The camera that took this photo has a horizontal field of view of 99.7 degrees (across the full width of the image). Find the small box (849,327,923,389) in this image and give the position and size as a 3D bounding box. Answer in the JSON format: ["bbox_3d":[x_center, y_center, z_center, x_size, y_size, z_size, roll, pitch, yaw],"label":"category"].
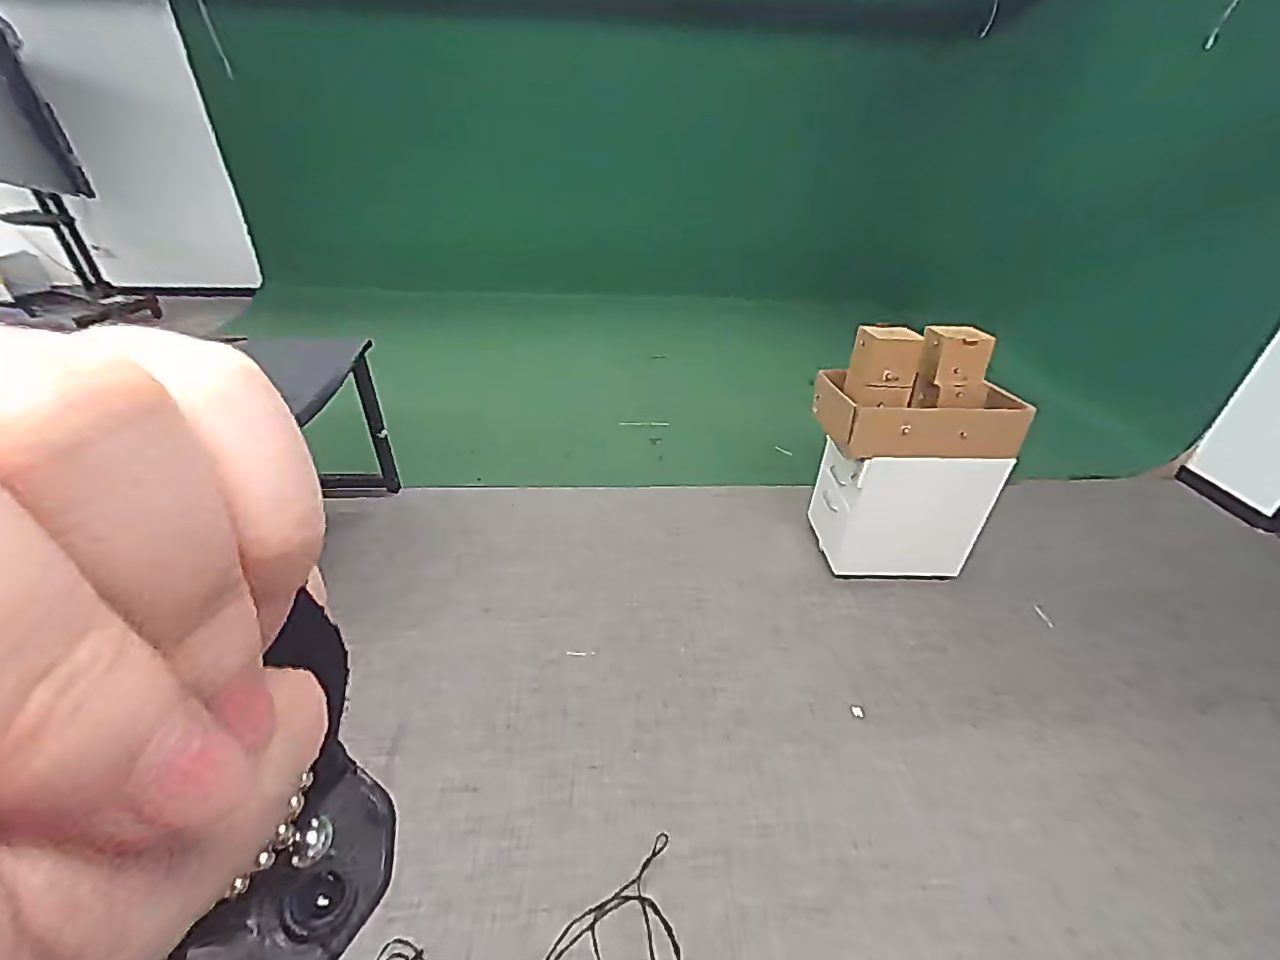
[{"bbox_3d":[0.849,-0.426,1.885,0.168,0.176,0.179,1,29,0],"label":"small box"}]

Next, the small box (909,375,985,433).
[{"bbox_3d":[1.108,-0.279,1.970,0.168,0.176,0.179,-1,28,0],"label":"small box"}]

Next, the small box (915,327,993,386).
[{"bbox_3d":[1.101,-0.437,1.919,0.168,0.176,0.179,2,29,2],"label":"small box"}]
